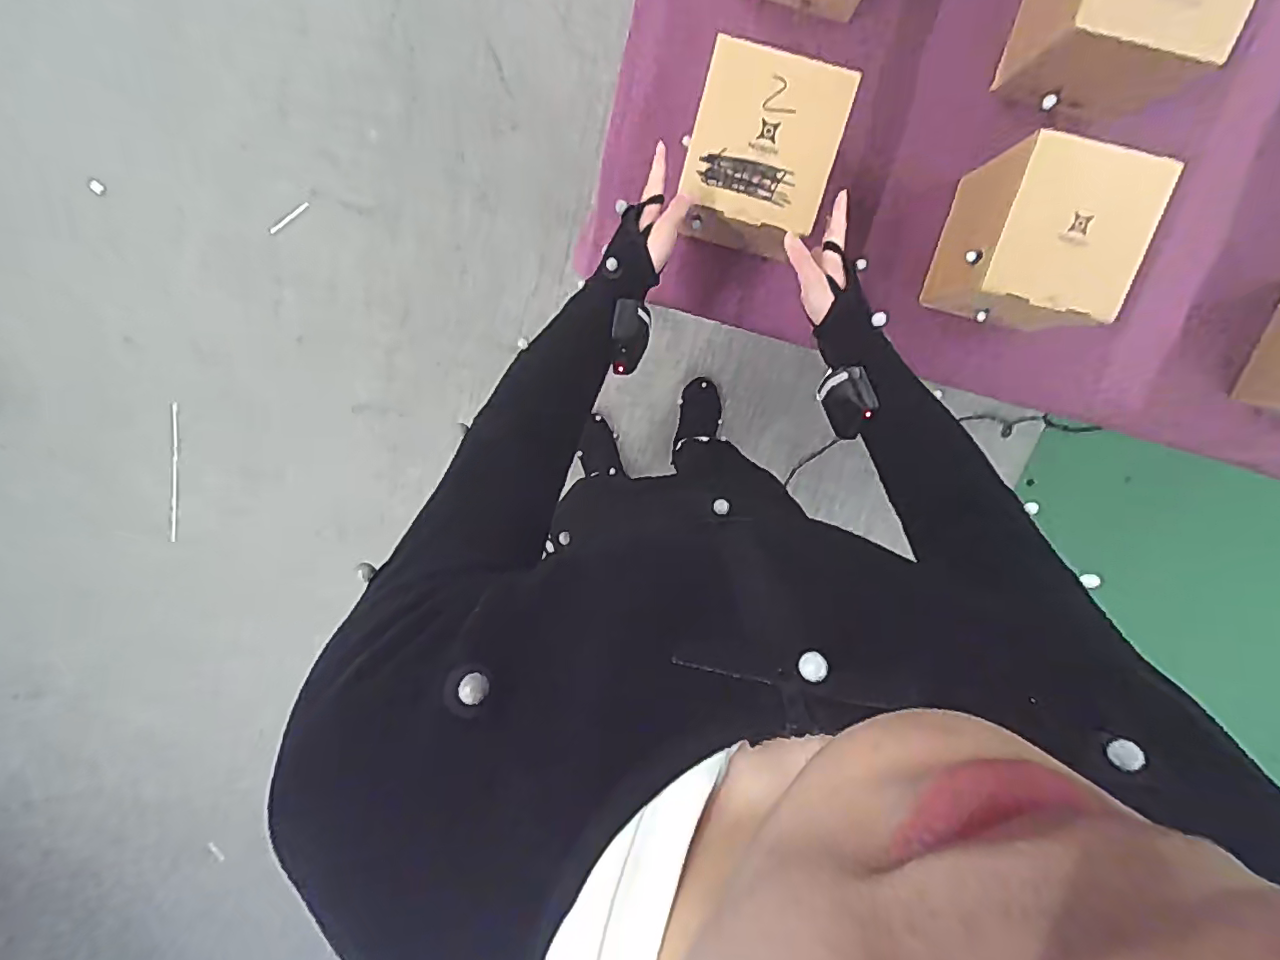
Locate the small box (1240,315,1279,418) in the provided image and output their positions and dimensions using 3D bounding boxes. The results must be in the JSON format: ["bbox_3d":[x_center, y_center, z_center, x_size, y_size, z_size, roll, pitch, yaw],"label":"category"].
[{"bbox_3d":[0.957,-0.154,0.691,0.168,0.176,0.179,17,103,2],"label":"small box"}]

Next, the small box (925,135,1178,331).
[{"bbox_3d":[0.502,-0.298,0.694,0.168,0.176,0.179,14,104,0],"label":"small box"}]

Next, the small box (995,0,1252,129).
[{"bbox_3d":[0.560,-0.552,0.629,0.168,0.176,0.179,16,105,1],"label":"small box"}]
